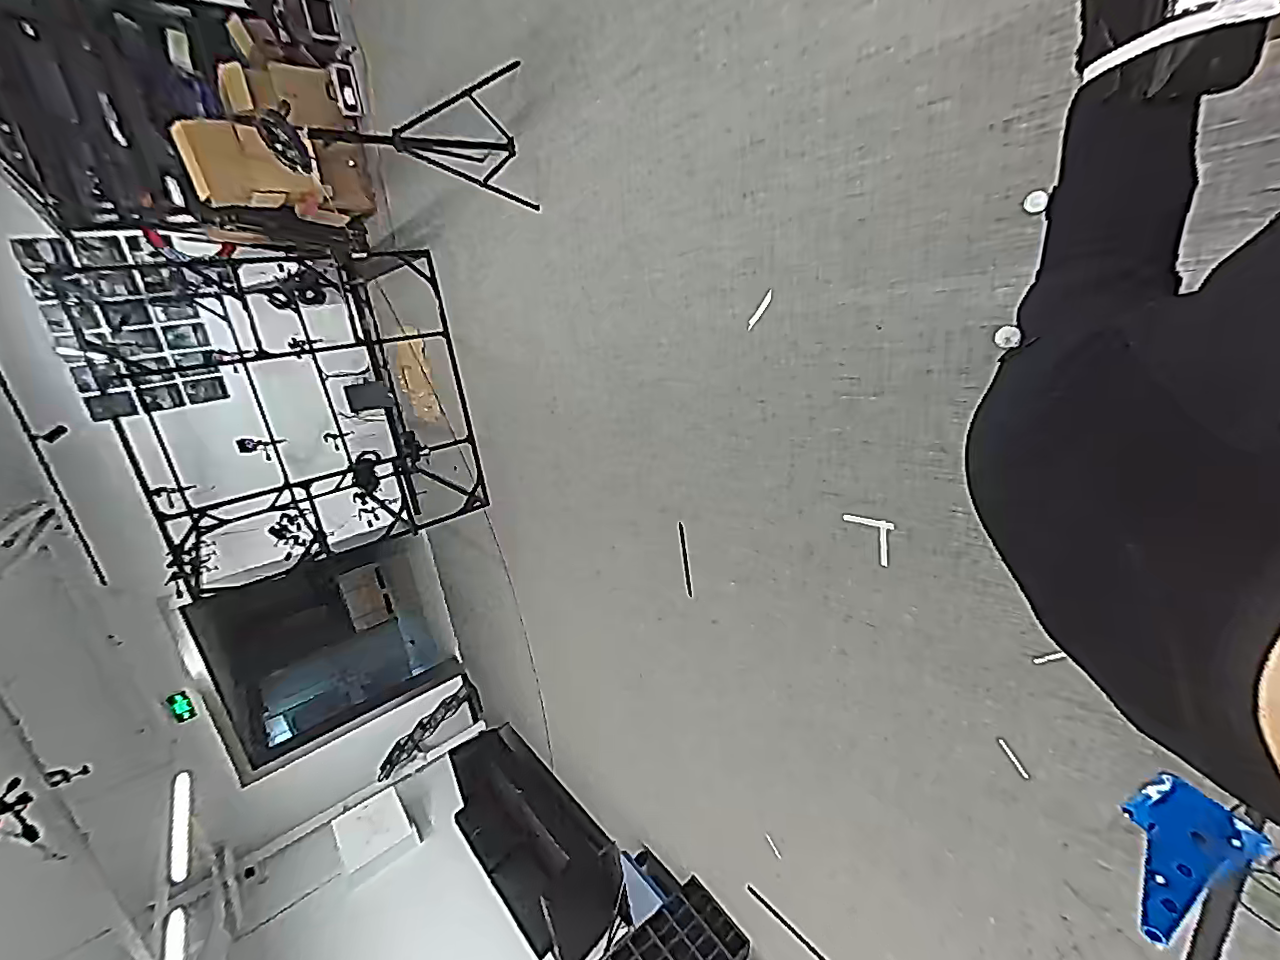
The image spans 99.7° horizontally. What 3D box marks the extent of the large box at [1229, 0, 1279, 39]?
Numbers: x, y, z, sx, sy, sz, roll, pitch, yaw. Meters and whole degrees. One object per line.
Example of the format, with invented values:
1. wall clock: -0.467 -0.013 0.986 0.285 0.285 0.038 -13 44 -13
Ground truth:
1. large box: 0.563 -0.478 0.228 0.408 0.320 0.320 12 120 49

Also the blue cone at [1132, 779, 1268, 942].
1. blue cone: 1.208 0.876 1.211 0.193 0.380 0.192 40 137 37
